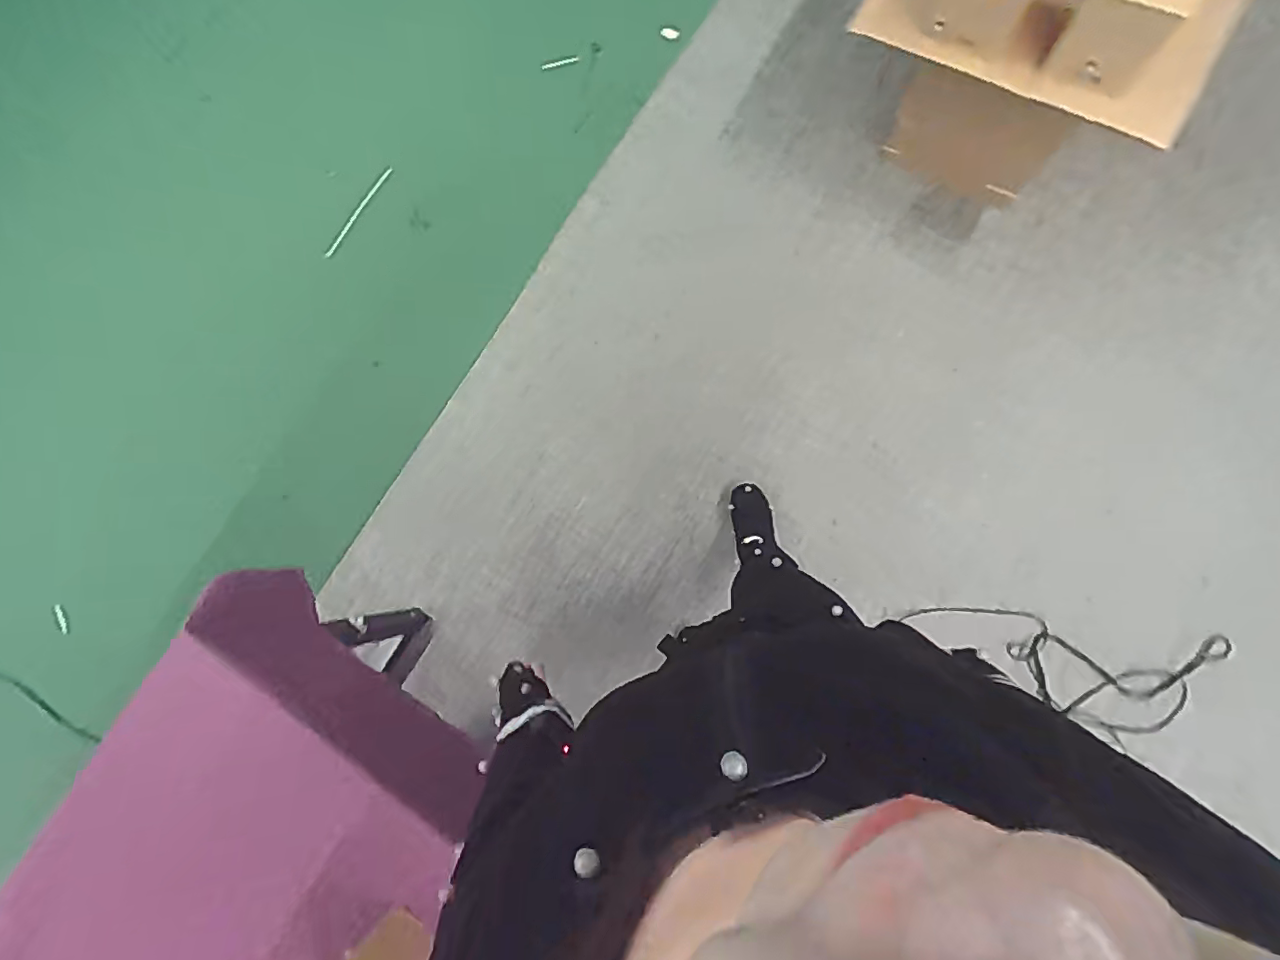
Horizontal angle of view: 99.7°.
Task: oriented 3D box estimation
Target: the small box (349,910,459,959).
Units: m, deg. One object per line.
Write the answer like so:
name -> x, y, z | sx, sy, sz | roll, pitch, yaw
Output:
small box -> -0.322, 0.690, 0.659 | 0.179, 0.176, 0.168 | 33, 86, 11
